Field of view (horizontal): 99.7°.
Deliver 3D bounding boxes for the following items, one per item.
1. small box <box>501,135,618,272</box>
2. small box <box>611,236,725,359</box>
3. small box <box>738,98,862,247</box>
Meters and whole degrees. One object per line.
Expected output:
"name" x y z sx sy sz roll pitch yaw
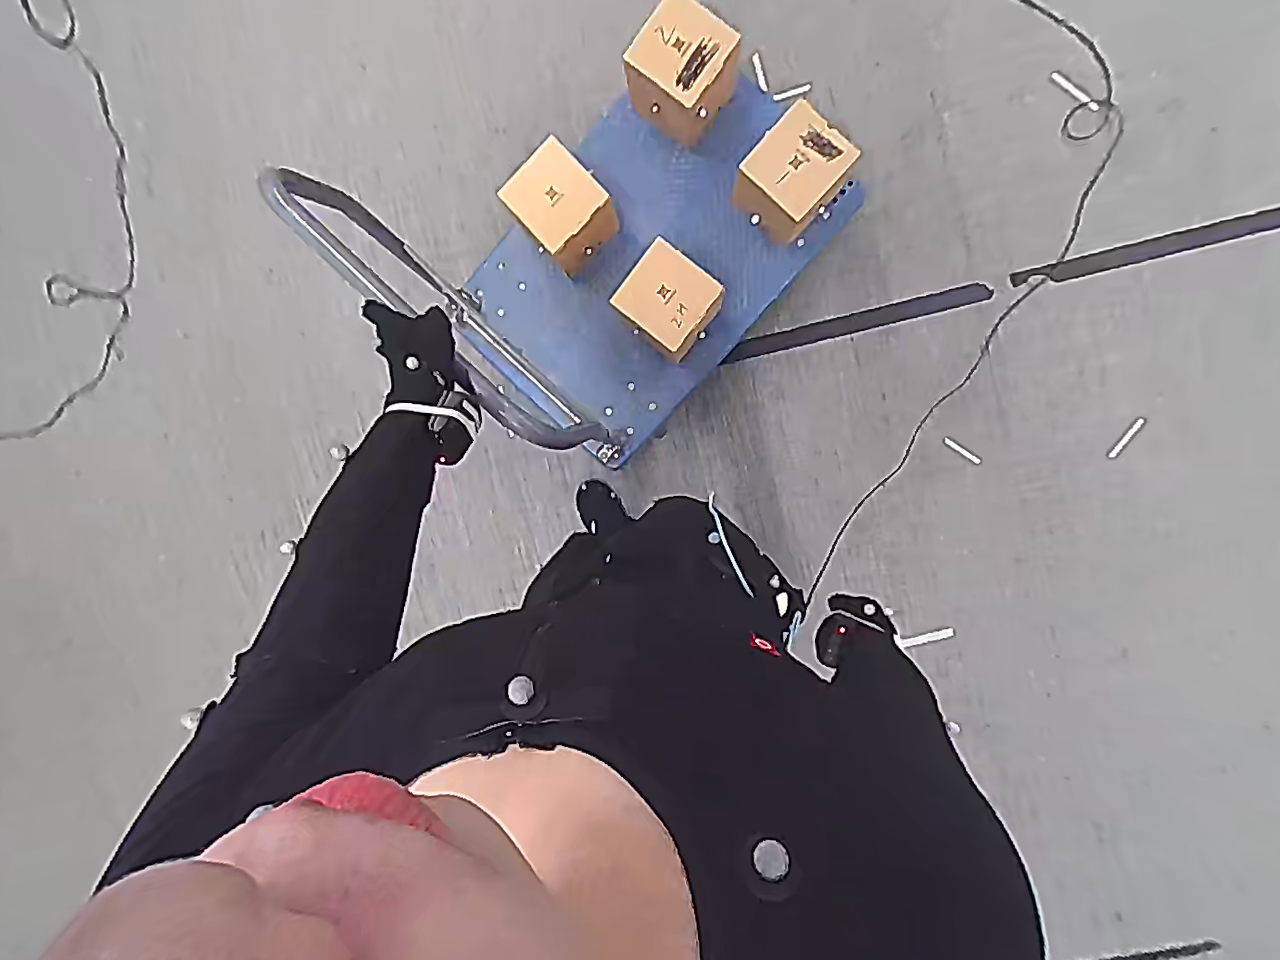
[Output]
"small box" -0.167 -0.590 1.182 0.168 0.176 0.179 -44 91 6
"small box" 0.063 -0.384 1.176 0.179 0.176 0.168 39 97 1
"small box" 0.322 -0.632 1.134 0.168 0.176 0.179 44 98 1
